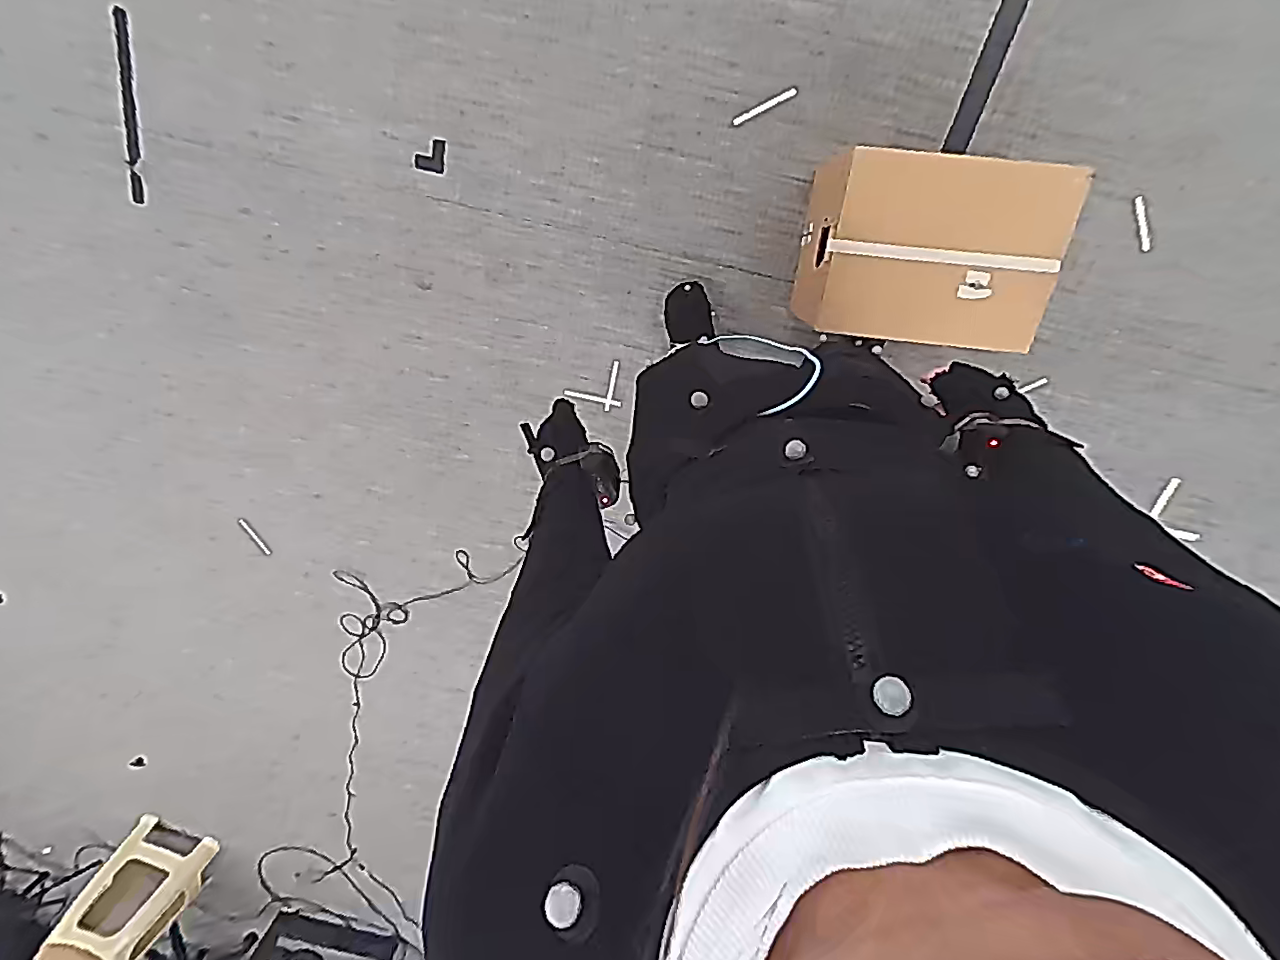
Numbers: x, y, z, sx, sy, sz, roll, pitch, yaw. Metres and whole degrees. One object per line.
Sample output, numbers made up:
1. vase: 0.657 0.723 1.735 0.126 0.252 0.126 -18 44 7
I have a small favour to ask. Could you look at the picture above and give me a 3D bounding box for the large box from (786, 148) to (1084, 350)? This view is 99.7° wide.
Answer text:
1. large box: 0.548 -0.462 1.108 0.408 0.320 0.320 7 114 2
